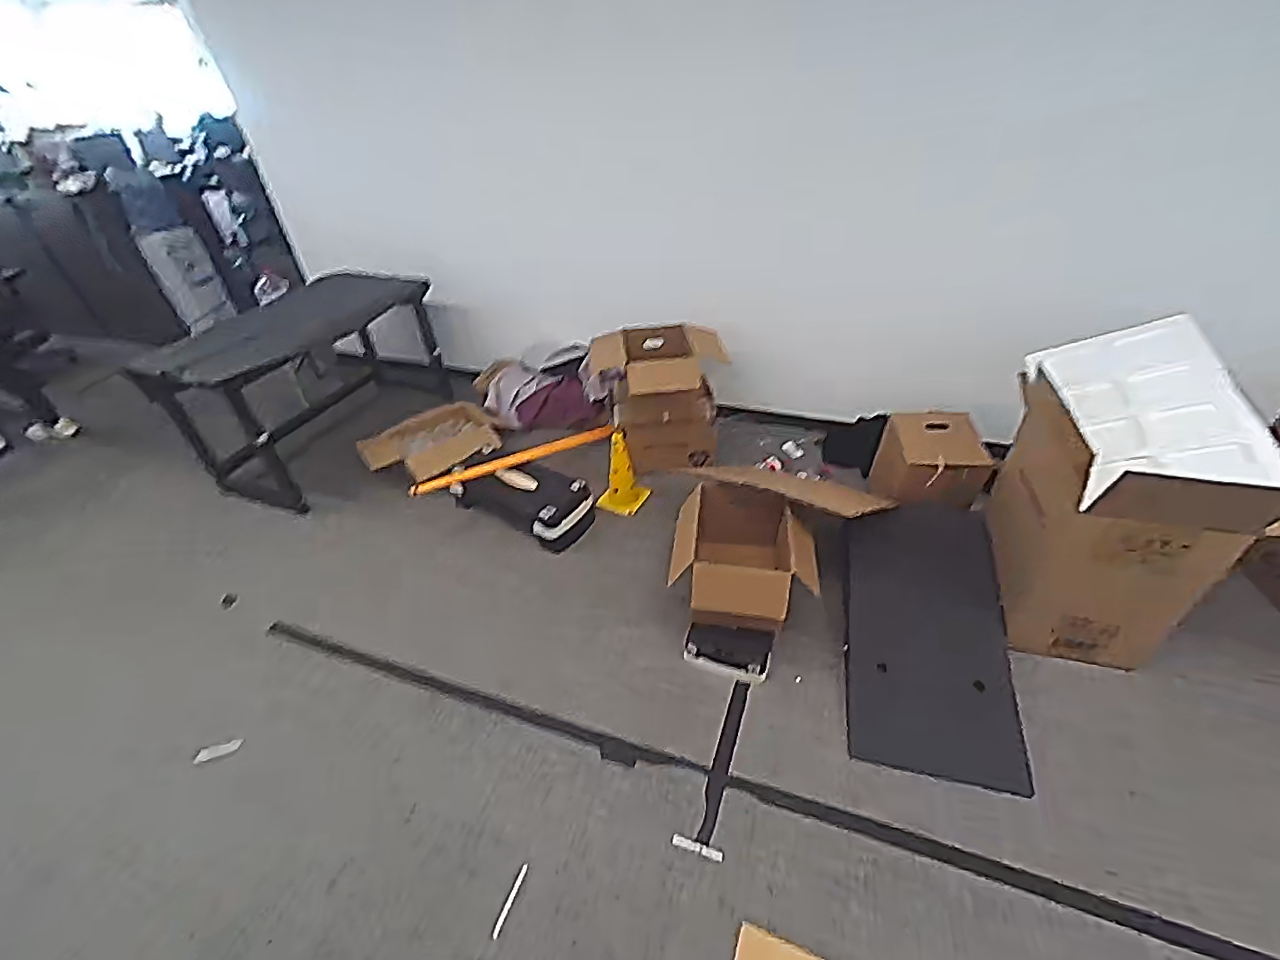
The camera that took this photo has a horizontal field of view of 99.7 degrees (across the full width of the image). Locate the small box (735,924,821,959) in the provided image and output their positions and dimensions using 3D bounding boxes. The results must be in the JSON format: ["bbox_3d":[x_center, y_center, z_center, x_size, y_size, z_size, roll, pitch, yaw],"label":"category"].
[{"bbox_3d":[0.224,0.884,0.882,0.168,0.176,0.179,13,42,19],"label":"small box"}]
